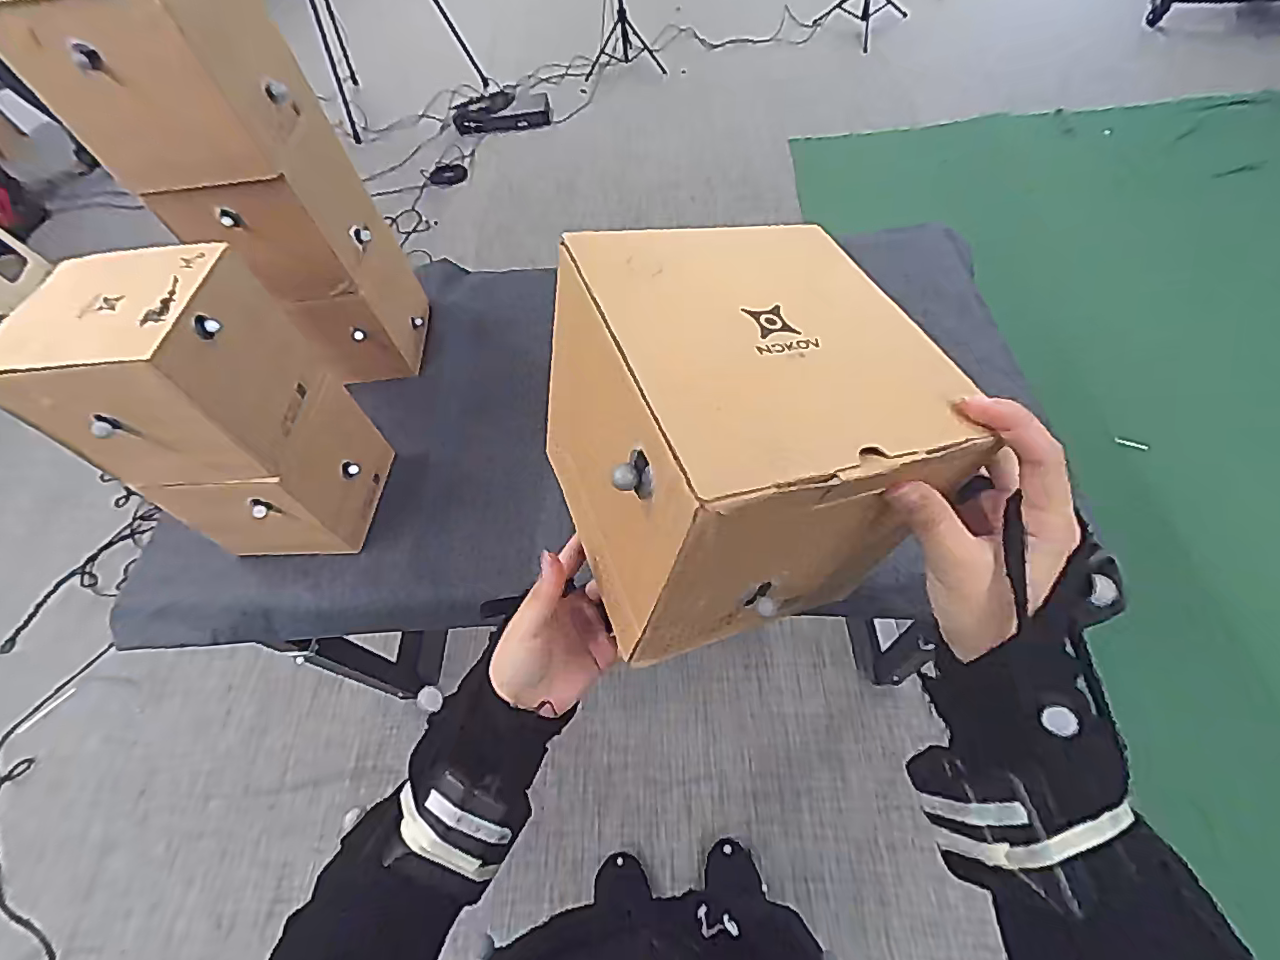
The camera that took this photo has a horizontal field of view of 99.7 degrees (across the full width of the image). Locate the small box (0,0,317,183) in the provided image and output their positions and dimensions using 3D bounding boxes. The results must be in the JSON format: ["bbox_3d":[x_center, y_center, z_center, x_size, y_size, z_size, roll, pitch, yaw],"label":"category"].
[{"bbox_3d":[-0.482,-0.433,0.557,0.179,0.176,0.168,-4,61,3],"label":"small box"}]

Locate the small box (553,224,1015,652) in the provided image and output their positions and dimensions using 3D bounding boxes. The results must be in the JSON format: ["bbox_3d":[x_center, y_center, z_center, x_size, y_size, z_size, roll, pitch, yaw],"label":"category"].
[{"bbox_3d":[0.052,-0.027,0.322,0.168,0.176,0.179,-13,58,-22],"label":"small box"}]

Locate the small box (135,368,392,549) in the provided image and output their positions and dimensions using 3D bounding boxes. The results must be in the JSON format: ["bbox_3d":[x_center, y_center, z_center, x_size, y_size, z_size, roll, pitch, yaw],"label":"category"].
[{"bbox_3d":[-0.448,-0.022,0.683,0.179,0.176,0.168,-1,56,6],"label":"small box"}]

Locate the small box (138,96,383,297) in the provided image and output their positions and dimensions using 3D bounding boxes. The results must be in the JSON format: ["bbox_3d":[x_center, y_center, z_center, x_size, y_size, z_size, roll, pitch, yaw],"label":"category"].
[{"bbox_3d":[-0.470,-0.358,0.703,0.179,0.176,0.168,-6,61,2],"label":"small box"}]

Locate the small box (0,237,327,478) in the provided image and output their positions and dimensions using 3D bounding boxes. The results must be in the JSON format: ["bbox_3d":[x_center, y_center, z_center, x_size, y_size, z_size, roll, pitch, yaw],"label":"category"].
[{"bbox_3d":[-0.468,-0.114,0.549,0.179,0.176,0.168,-5,57,4],"label":"small box"}]
